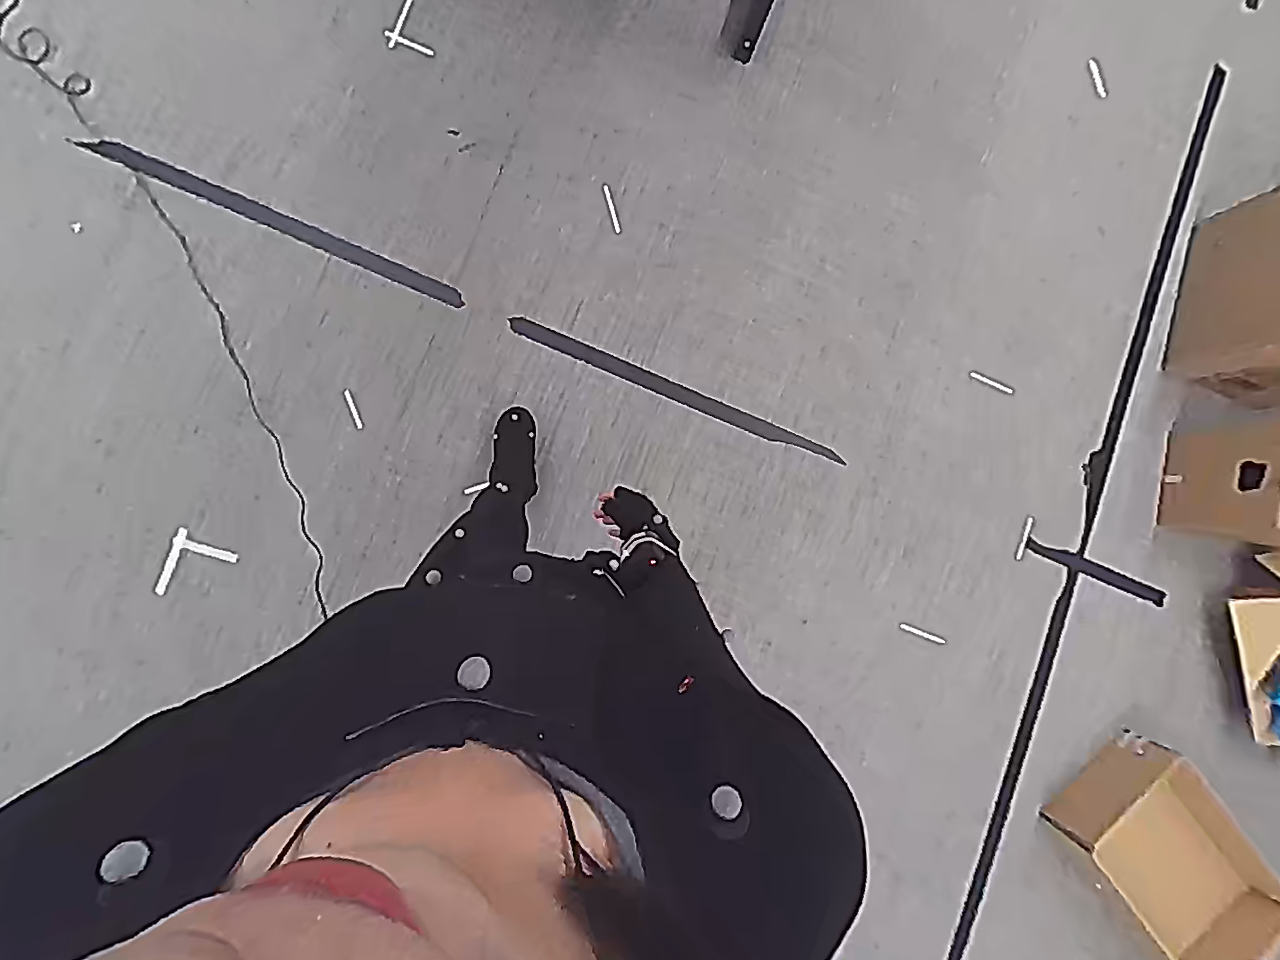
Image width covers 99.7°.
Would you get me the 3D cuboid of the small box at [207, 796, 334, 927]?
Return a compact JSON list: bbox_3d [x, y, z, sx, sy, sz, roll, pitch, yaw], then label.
[{"bbox_3d":[-0.874,0.908,1.300,0.168,0.176,0.179,20,85,-7],"label":"small box"}]
